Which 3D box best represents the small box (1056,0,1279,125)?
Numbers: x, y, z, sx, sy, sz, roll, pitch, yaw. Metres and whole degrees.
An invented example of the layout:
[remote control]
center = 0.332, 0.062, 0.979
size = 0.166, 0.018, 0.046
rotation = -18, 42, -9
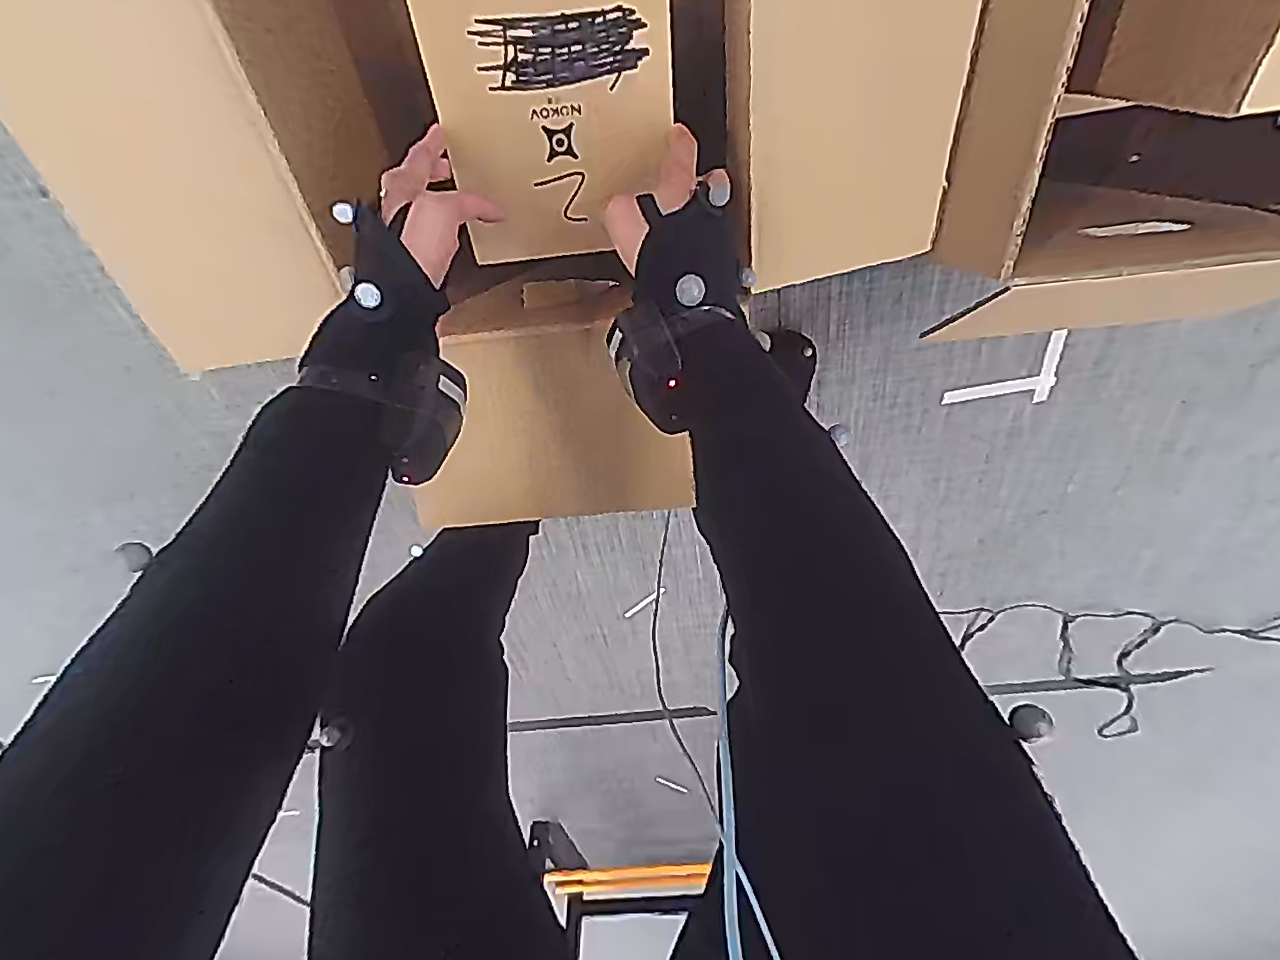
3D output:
[small box]
center = 0.403, -0.322, 0.310
size = 0.179, 0.176, 0.168
rotation = -5, 131, 3
